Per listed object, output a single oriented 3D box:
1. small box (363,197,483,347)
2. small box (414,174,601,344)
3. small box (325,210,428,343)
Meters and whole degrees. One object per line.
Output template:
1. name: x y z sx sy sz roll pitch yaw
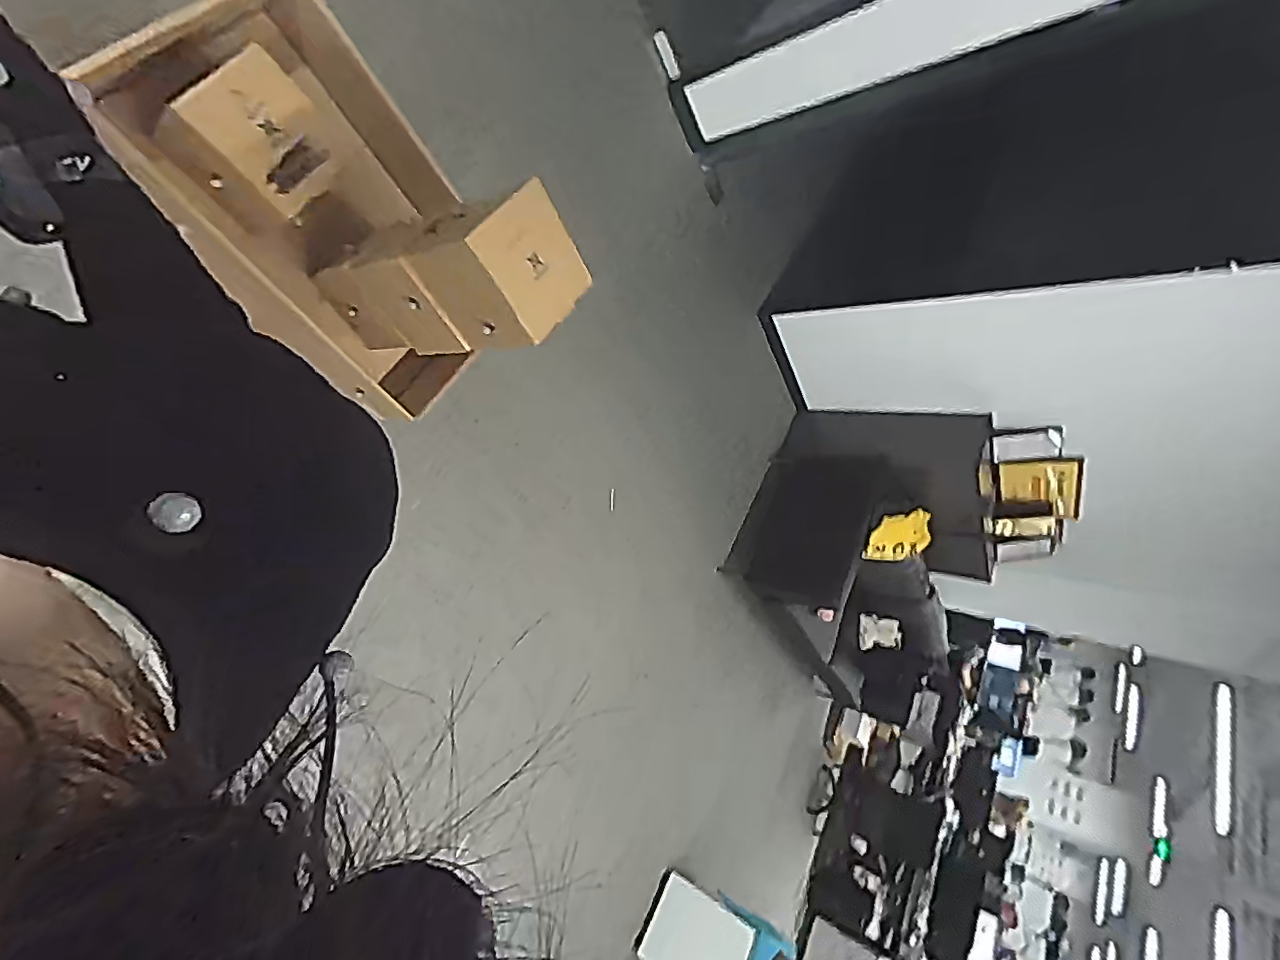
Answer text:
1. small box: -0.328 -0.343 0.922 0.168 0.176 0.179 -55 134 -27
2. small box: -0.198 -0.326 0.824 0.168 0.176 0.179 -56 134 -27
3. small box: -0.457 -0.373 1.019 0.179 0.176 0.168 -54 133 -28
